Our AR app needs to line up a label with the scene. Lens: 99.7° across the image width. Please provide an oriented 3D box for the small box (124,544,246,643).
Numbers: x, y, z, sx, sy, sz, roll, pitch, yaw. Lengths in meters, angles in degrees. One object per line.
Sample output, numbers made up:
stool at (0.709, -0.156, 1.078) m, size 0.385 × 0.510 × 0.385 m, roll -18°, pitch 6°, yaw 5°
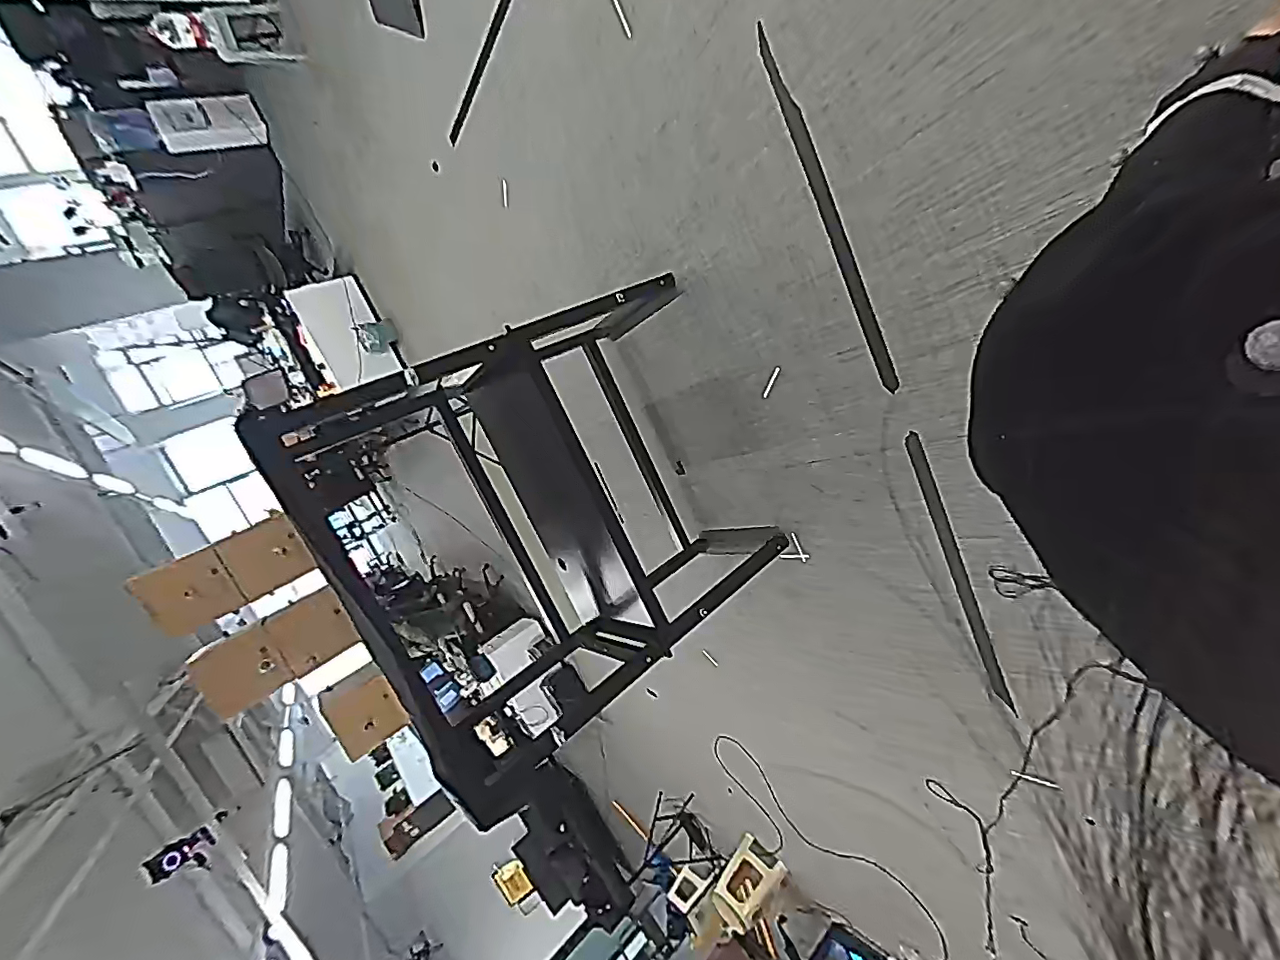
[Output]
small box at (-1.067, 0.261, 1.292) m, size 0.179 × 0.176 × 0.168 m, roll -7°, pitch 110°, yaw 56°

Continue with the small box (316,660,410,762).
small box at (-0.752, 0.618, 1.473) m, size 0.179 × 0.176 × 0.168 m, roll -5°, pitch 112°, yaw 57°

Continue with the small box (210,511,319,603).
small box at (-0.945, 0.188, 1.375) m, size 0.179 × 0.176 × 0.168 m, roll -8°, pitch 111°, yaw 57°

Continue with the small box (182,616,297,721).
small box at (-0.979, 0.456, 1.341) m, size 0.179 × 0.176 × 0.168 m, roll -11°, pitch 108°, yaw 58°
